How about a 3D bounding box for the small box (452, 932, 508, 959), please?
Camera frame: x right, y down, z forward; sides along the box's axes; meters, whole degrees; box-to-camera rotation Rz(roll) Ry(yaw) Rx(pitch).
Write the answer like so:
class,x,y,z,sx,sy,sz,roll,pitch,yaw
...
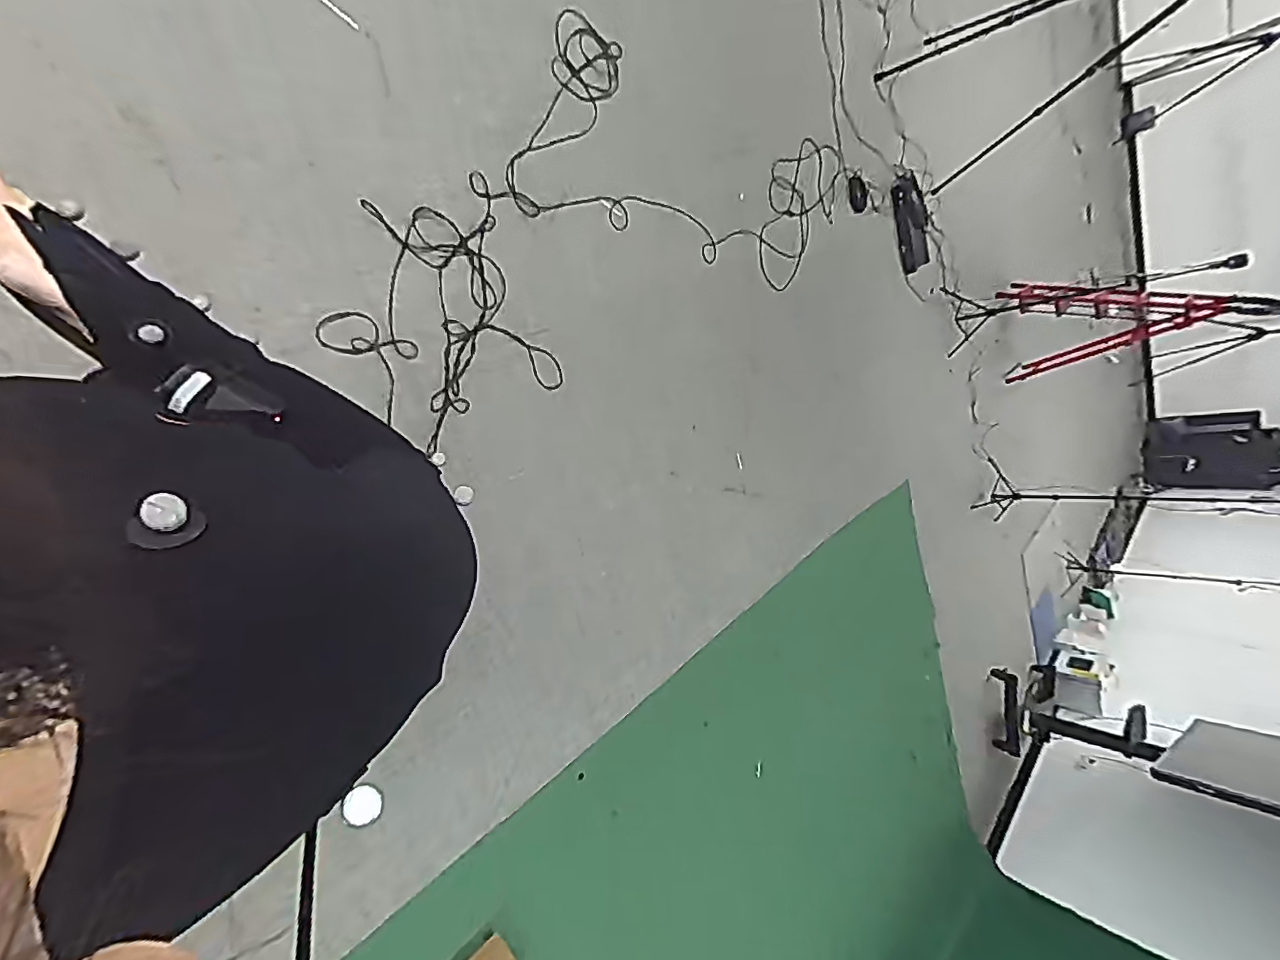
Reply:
class,x,y,z,sx,sy,sz,roll,pitch,yaw
small box,-0.451,1.452,1.541,0.168,0.176,0.179,-29,110,-36
